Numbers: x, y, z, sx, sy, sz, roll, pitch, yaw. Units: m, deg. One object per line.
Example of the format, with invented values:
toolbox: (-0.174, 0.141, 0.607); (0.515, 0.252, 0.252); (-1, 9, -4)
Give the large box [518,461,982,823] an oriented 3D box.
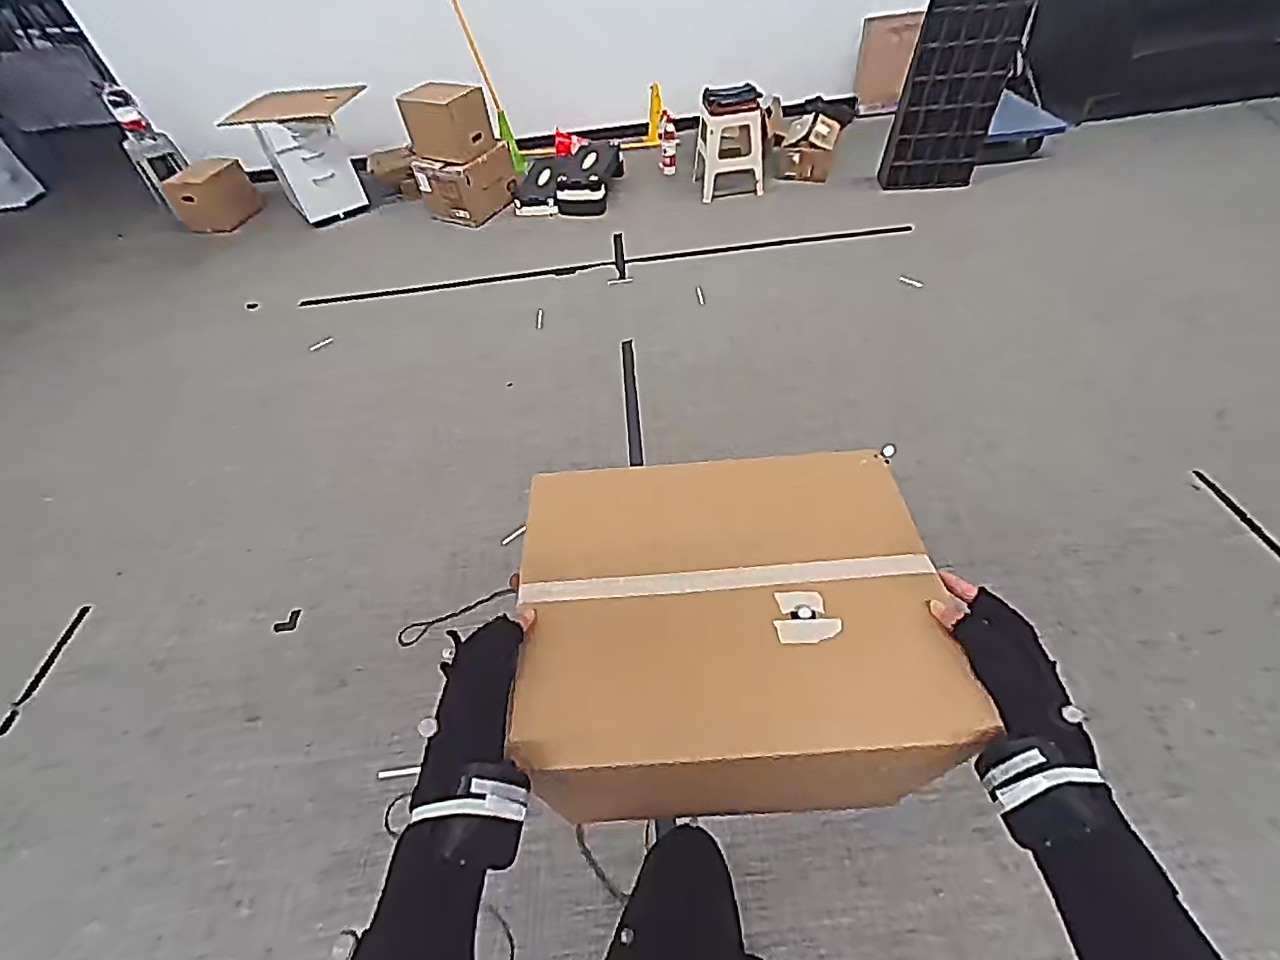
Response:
large box: (0.090, 0.205, 0.661); (0.408, 0.320, 0.320); (-4, 51, 1)
